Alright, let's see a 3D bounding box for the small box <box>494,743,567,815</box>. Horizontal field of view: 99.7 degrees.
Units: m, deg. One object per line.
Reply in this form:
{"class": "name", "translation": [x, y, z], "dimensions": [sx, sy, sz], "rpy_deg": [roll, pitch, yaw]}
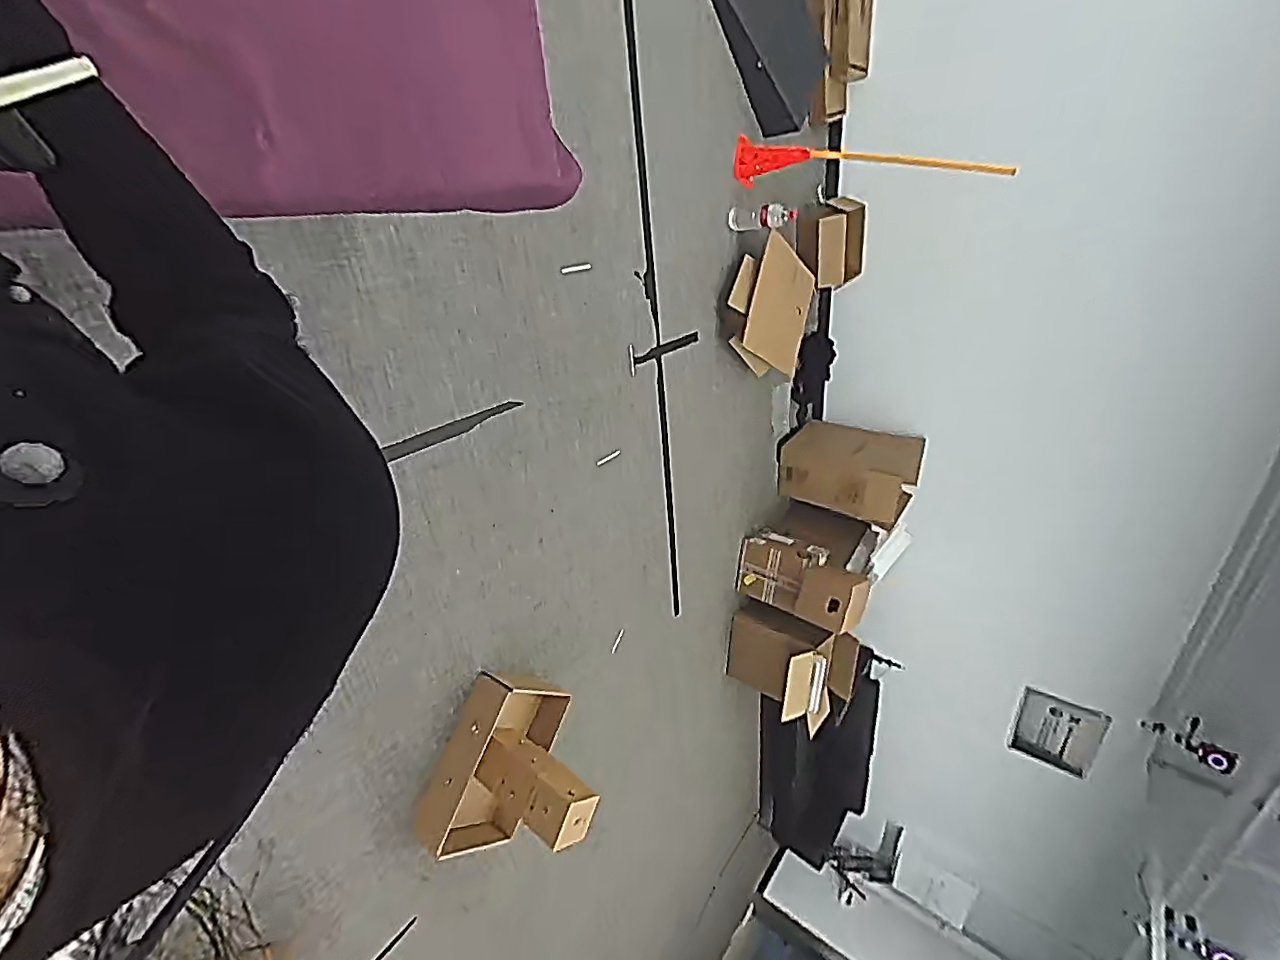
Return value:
{"class": "small box", "translation": [-0.415, 1.118, 2.035], "dimensions": [0.179, 0.176, 0.168], "rpy_deg": [30, 80, -55]}

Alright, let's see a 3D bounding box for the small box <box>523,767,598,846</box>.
{"class": "small box", "translation": [-0.288, 1.161, 1.937], "dimensions": [0.179, 0.176, 0.168], "rpy_deg": [29, 82, -54]}

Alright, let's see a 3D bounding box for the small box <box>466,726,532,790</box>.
{"class": "small box", "translation": [-0.545, 1.085, 2.126], "dimensions": [0.179, 0.176, 0.168], "rpy_deg": [36, 74, -52]}
